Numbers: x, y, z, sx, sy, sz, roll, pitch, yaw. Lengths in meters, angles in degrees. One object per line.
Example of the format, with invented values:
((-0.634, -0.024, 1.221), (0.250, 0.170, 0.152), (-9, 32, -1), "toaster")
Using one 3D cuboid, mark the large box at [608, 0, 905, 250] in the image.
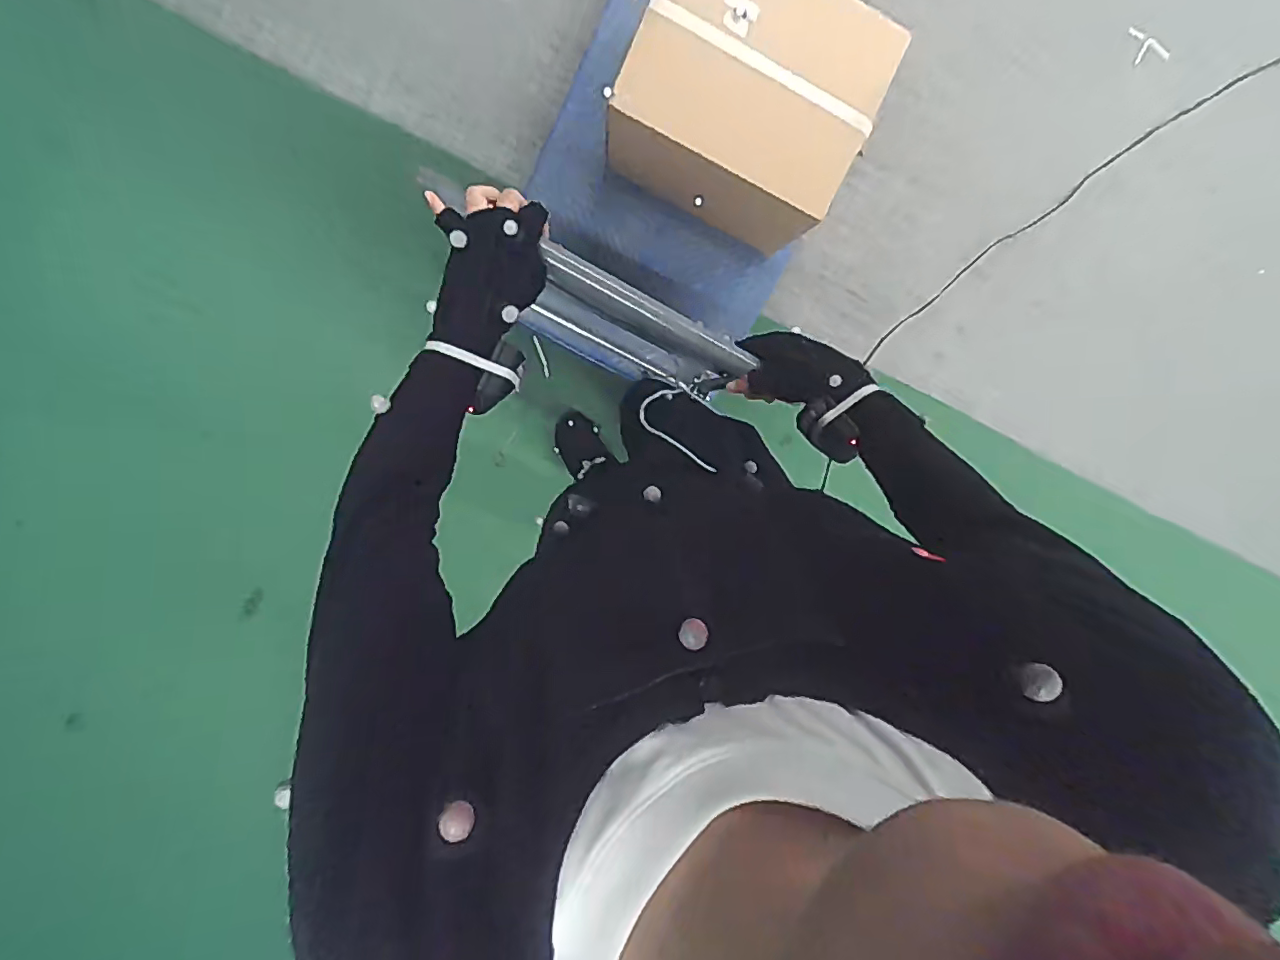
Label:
((0.182, -0.690, 1.016), (0.408, 0.320, 0.320), (23, 99, -7), "large box")
